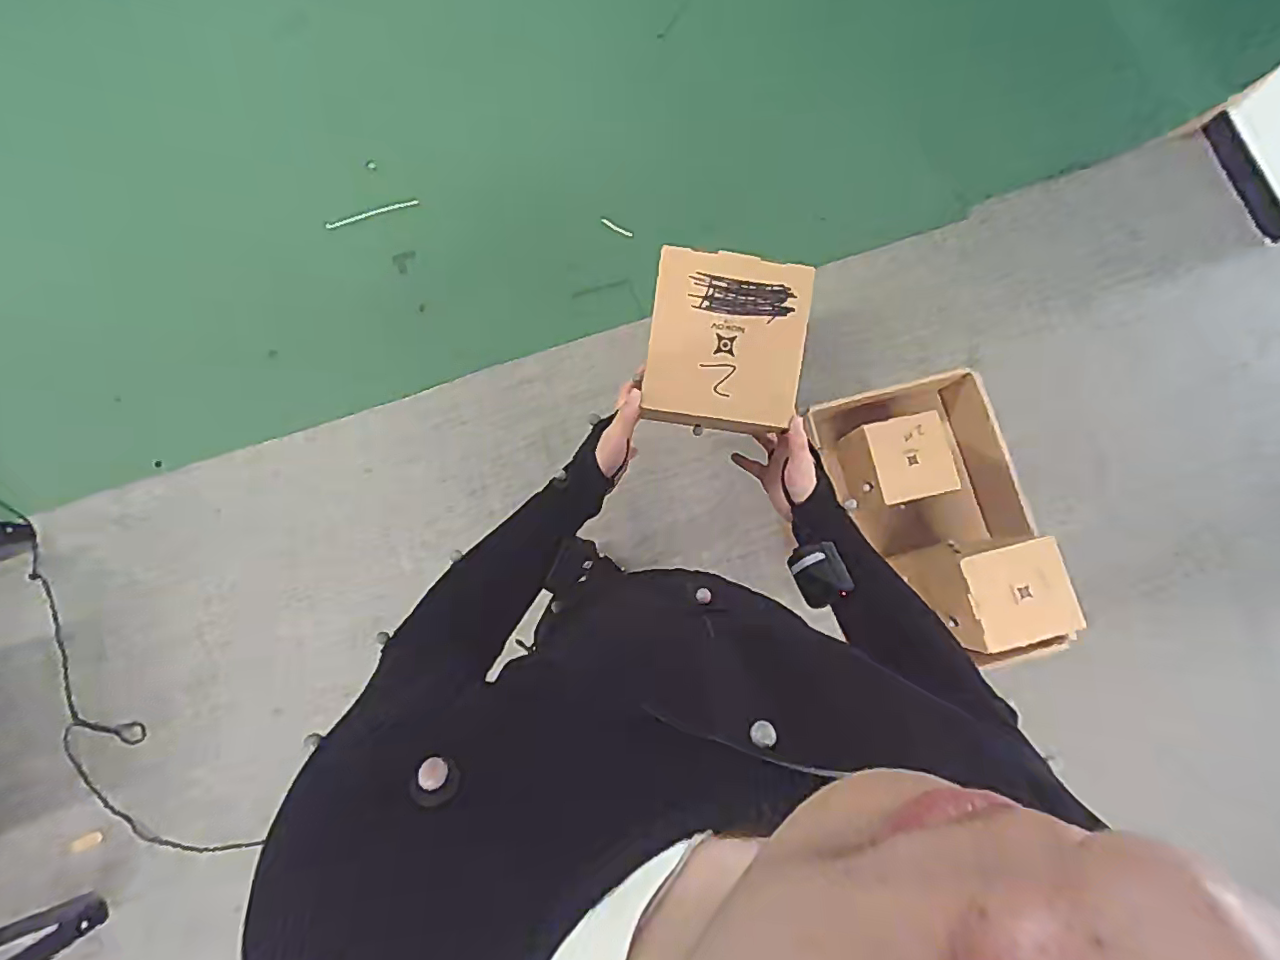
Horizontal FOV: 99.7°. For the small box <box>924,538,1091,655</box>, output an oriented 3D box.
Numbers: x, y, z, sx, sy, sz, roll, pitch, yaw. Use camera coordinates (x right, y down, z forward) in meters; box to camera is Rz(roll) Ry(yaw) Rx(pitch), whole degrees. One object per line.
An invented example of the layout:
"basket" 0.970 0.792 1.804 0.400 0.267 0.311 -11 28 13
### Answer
"small box" 0.653 0.208 0.991 0.179 0.176 0.168 -14 82 -3
